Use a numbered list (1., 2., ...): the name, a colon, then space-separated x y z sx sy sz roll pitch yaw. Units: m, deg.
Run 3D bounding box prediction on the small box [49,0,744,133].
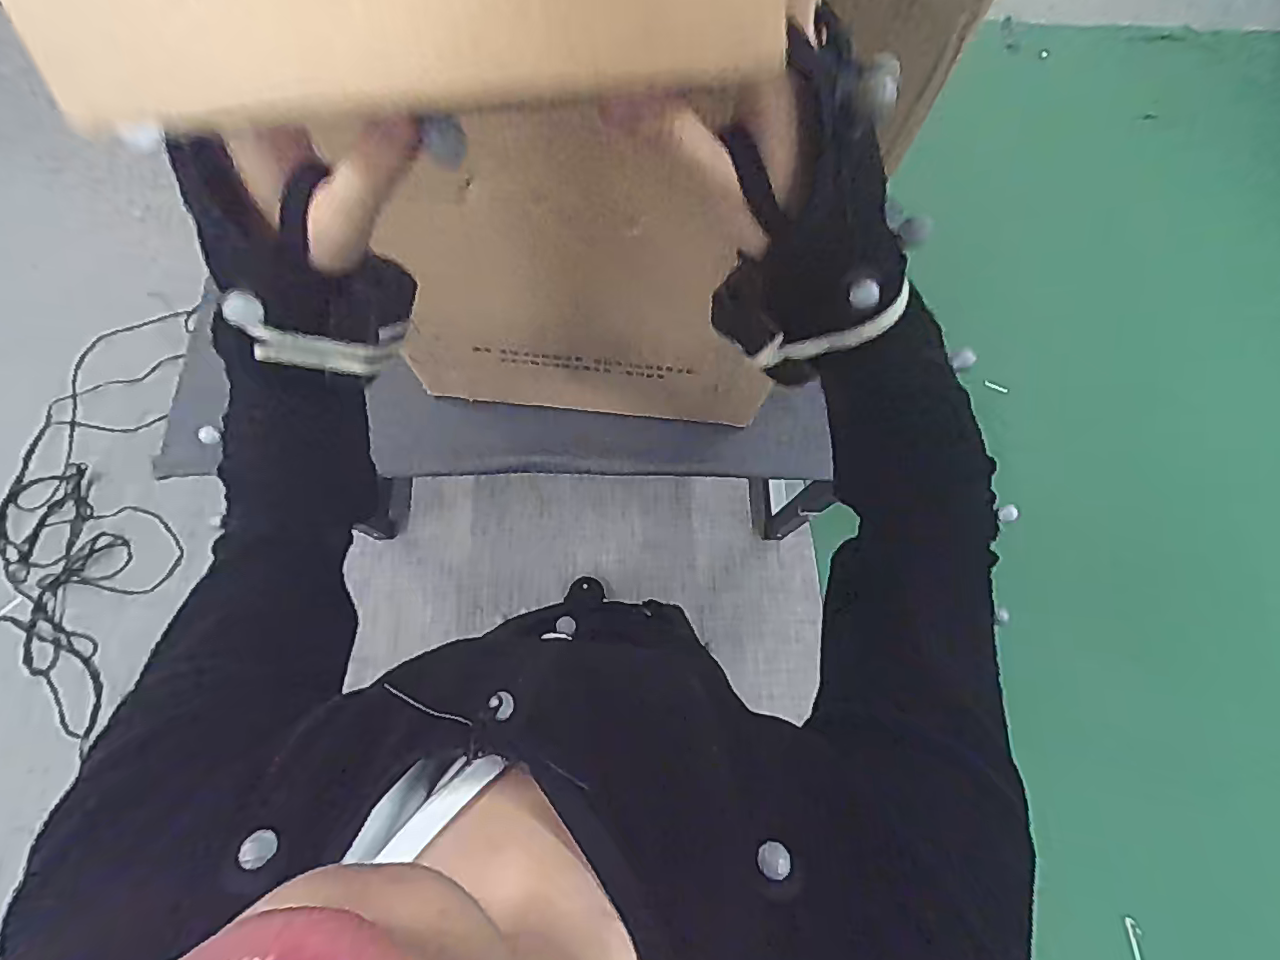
1. small box: -0.053 -0.207 0.154 0.168 0.179 0.176 0 31 6
